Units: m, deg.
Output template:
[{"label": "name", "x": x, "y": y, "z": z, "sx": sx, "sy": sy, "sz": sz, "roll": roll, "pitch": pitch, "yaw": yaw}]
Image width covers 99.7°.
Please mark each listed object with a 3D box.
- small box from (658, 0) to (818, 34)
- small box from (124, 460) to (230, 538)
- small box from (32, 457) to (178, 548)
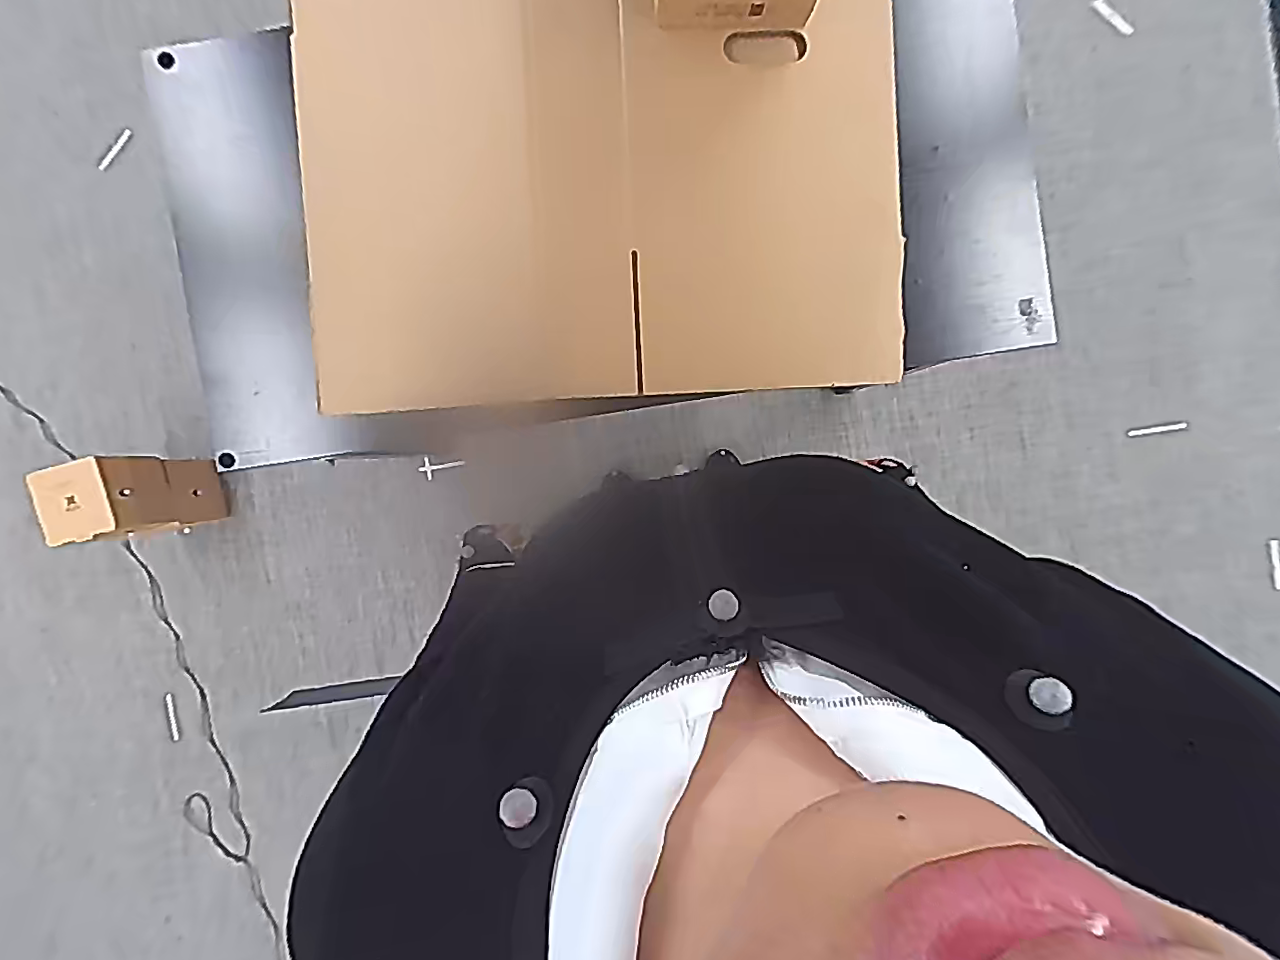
[{"label": "small box", "x": 0.101, "y": -0.568, "z": 0.498, "sx": 0.168, "sy": 0.176, "sz": 0.179, "roll": -1, "pitch": 90, "yaw": -2}, {"label": "small box", "x": -1.260, "y": 0.047, "z": 1.458, "sx": 0.168, "sy": 0.176, "sz": 0.179, "roll": -12, "pitch": 92, "yaw": 2}, {"label": "small box", "x": -1.267, "y": 0.047, "z": 1.296, "sx": 0.168, "sy": 0.176, "sz": 0.179, "roll": -16, "pitch": 90, "yaw": 1}]
